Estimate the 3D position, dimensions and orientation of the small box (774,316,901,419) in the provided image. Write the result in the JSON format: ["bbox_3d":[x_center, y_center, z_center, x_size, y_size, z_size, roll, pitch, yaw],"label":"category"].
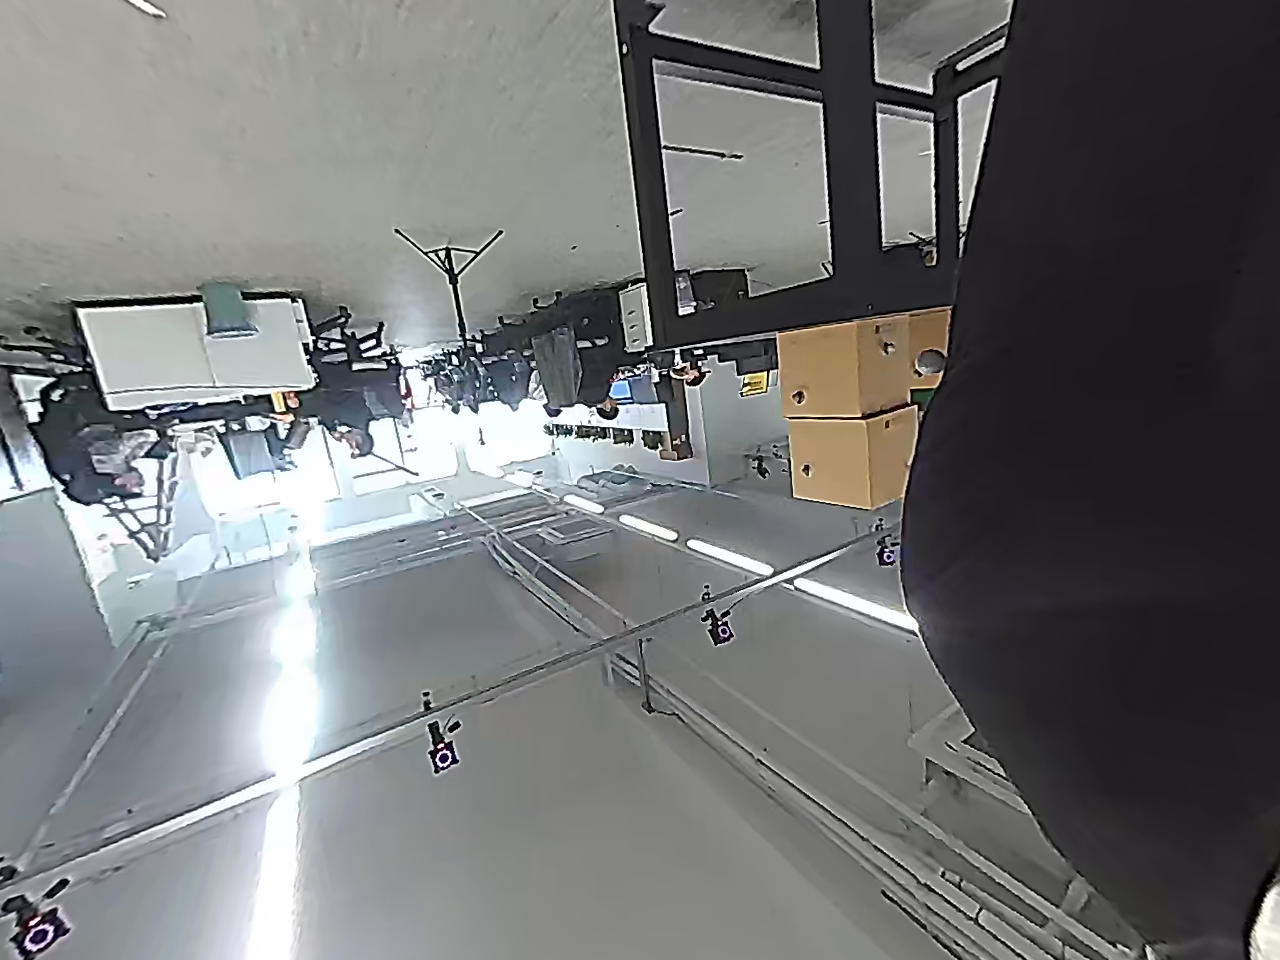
[{"bbox_3d":[0.372,-0.213,1.025,0.168,0.176,0.179,-17,-164,-33],"label":"small box"}]

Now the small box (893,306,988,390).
[{"bbox_3d":[0.666,-0.300,1.235,0.168,0.176,0.179,-14,-166,-28],"label":"small box"}]
